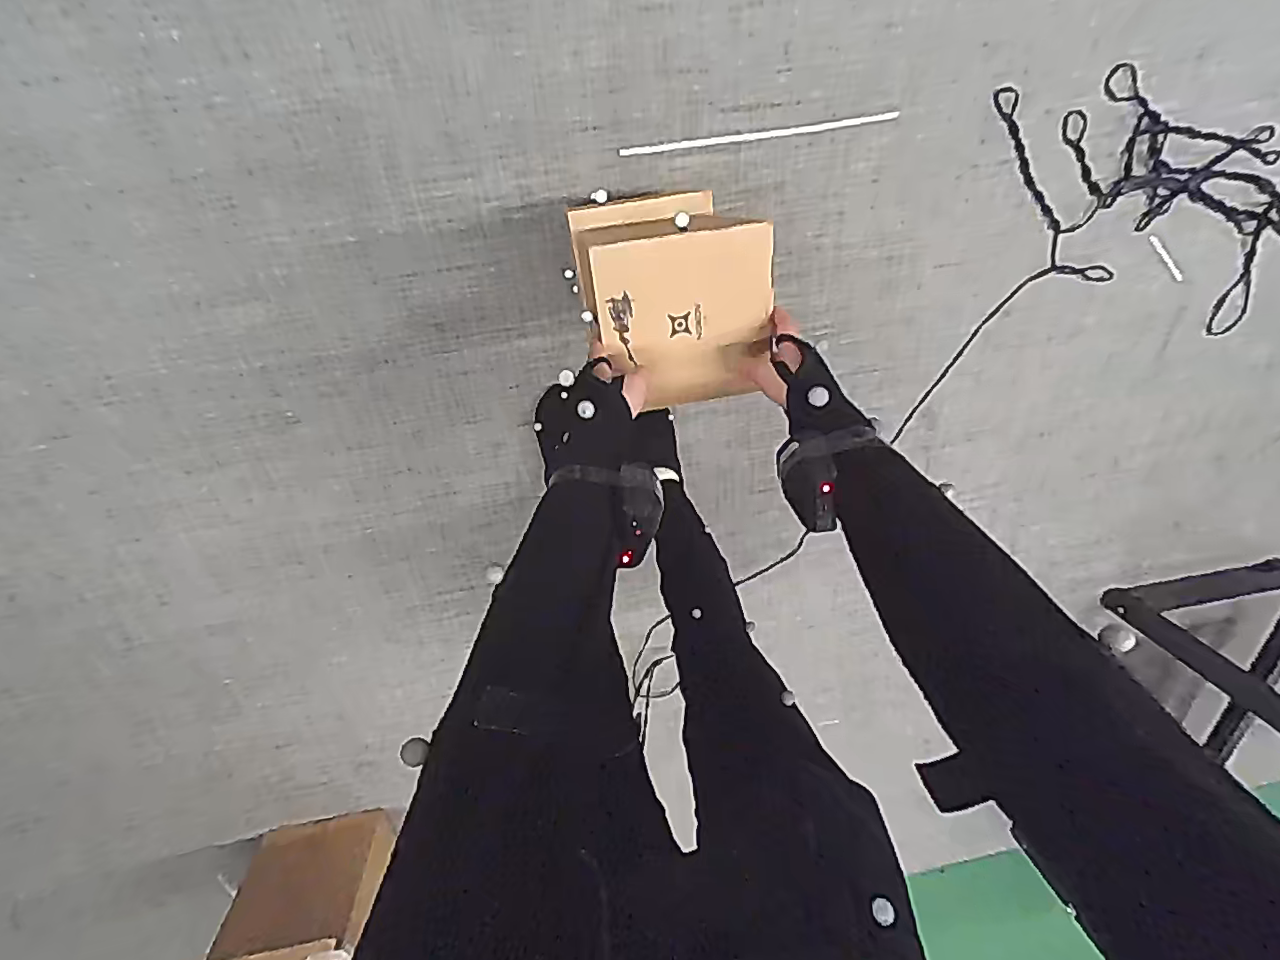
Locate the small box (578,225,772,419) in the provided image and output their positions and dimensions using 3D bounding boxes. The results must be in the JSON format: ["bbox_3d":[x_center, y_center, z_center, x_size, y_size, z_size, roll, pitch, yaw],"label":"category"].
[{"bbox_3d":[0.033,-0.184,0.603,0.179,0.176,0.168,-10,118,-5],"label":"small box"}]

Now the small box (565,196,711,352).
[{"bbox_3d":[-0.002,-0.286,0.745,0.179,0.176,0.168,-11,118,-4],"label":"small box"}]
